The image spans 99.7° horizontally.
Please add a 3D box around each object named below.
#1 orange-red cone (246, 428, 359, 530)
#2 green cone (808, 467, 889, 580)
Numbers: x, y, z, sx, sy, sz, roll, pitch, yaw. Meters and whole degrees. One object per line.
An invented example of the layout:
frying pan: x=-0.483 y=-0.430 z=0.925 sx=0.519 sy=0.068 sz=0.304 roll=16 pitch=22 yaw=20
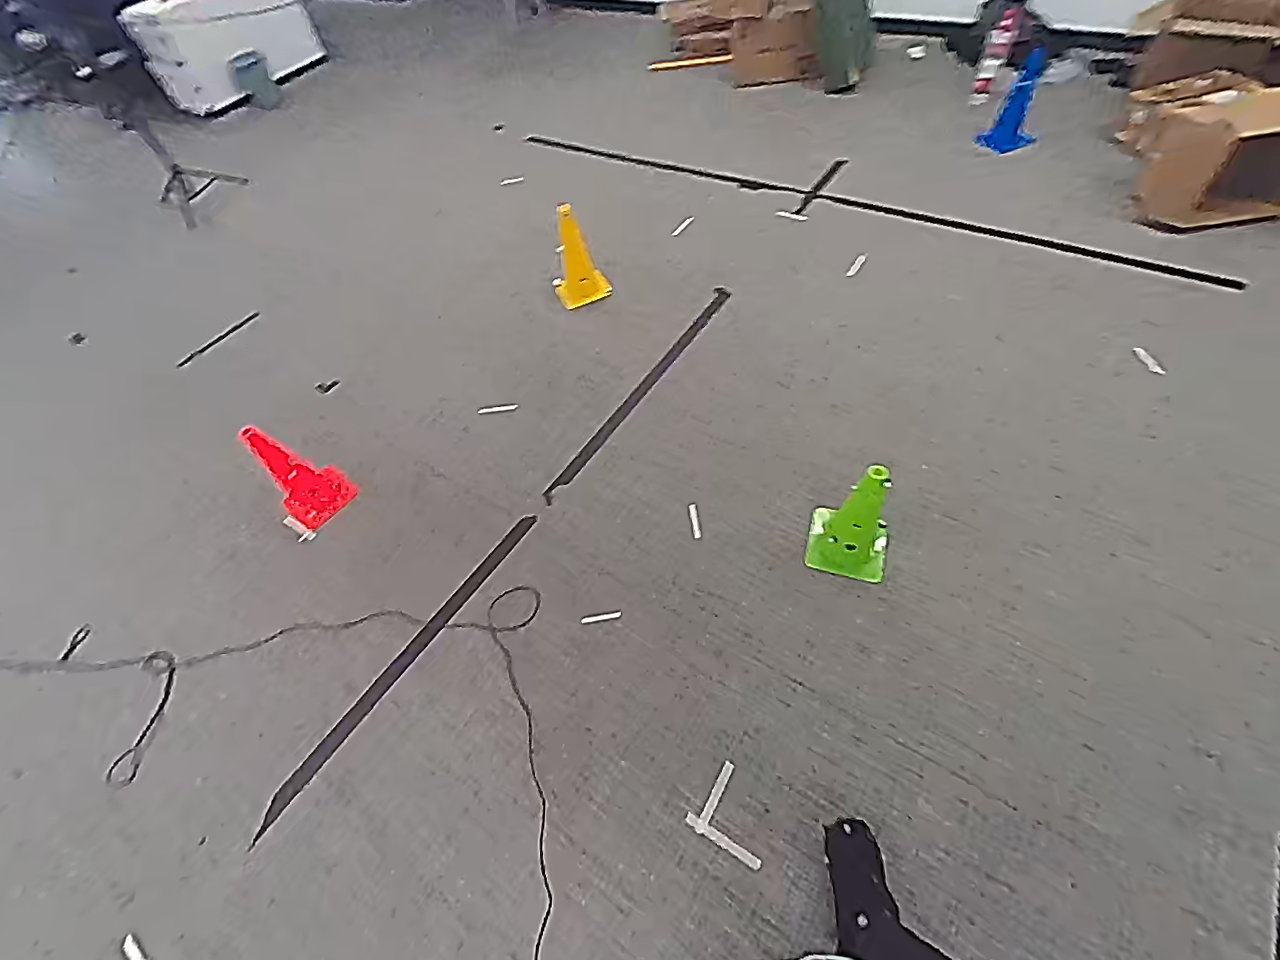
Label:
orange-red cone: x=-1.093 y=-0.037 z=1.693 sx=0.198 sy=0.360 sz=0.199 roll=34 pitch=65 yaw=26
green cone: x=0.561 y=0.079 z=1.372 sx=0.200 sy=0.368 sz=0.202 roll=11 pitch=59 yaw=16
